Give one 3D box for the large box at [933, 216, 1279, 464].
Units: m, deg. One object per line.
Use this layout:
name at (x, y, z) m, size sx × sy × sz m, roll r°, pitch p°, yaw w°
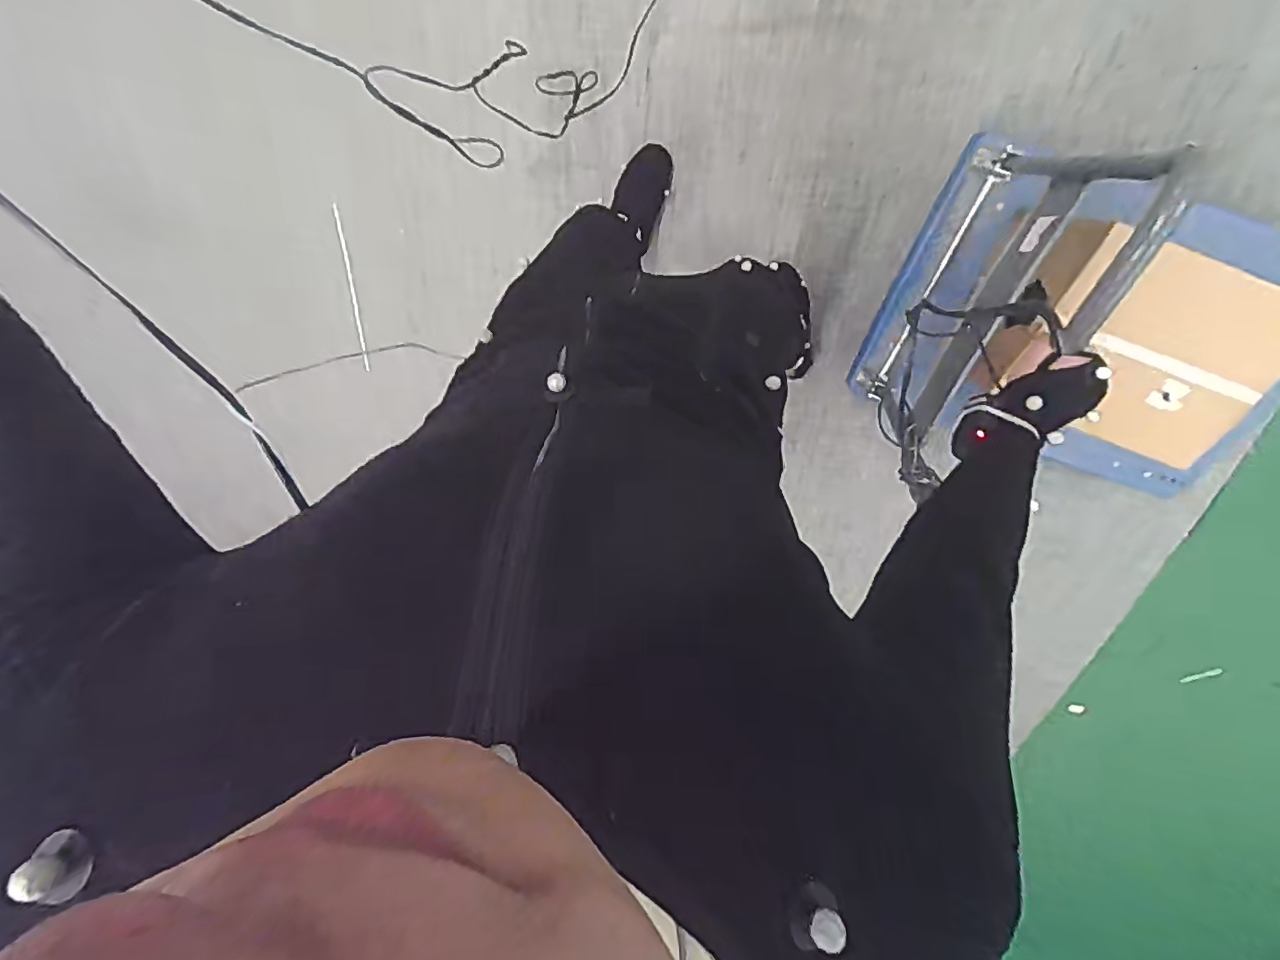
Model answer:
large box at (0.886, -0.288, 1.063) m, size 0.408 × 0.320 × 0.320 m, roll 20°, pitch 122°, yaw -2°
